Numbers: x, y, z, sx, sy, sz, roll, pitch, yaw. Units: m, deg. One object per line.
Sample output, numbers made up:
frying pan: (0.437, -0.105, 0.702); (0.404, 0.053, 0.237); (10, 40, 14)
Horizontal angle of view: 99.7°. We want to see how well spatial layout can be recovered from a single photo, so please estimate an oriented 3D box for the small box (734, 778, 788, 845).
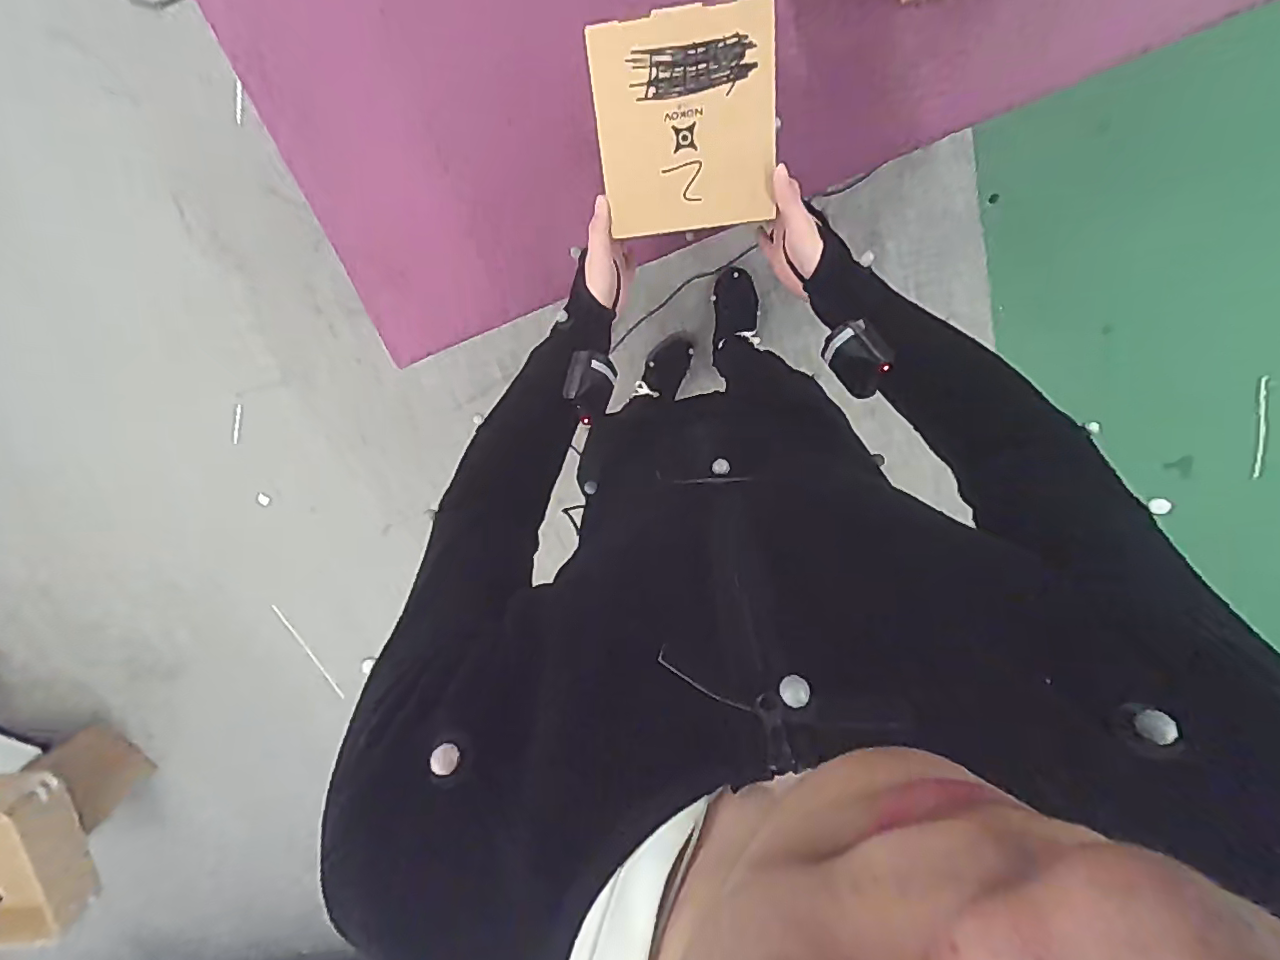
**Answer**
small box: (0.463, 1.282, 2.091); (0.168, 0.176, 0.179); (-13, 112, 9)
